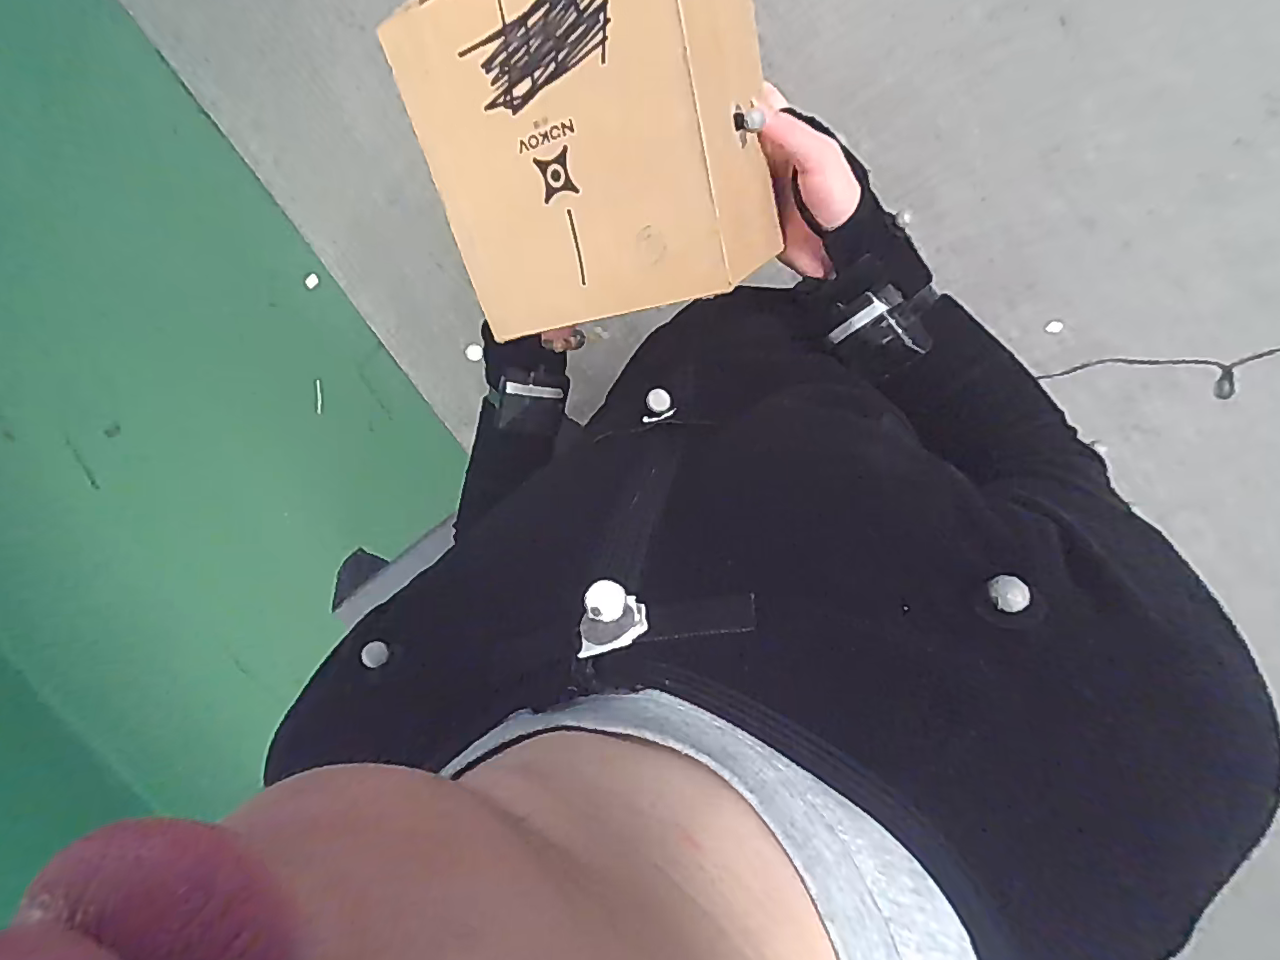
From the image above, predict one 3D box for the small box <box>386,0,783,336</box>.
[{"bbox_3d":[-0.013,-0.210,0.349,0.168,0.176,0.179,-2,118,28],"label":"small box"}]
